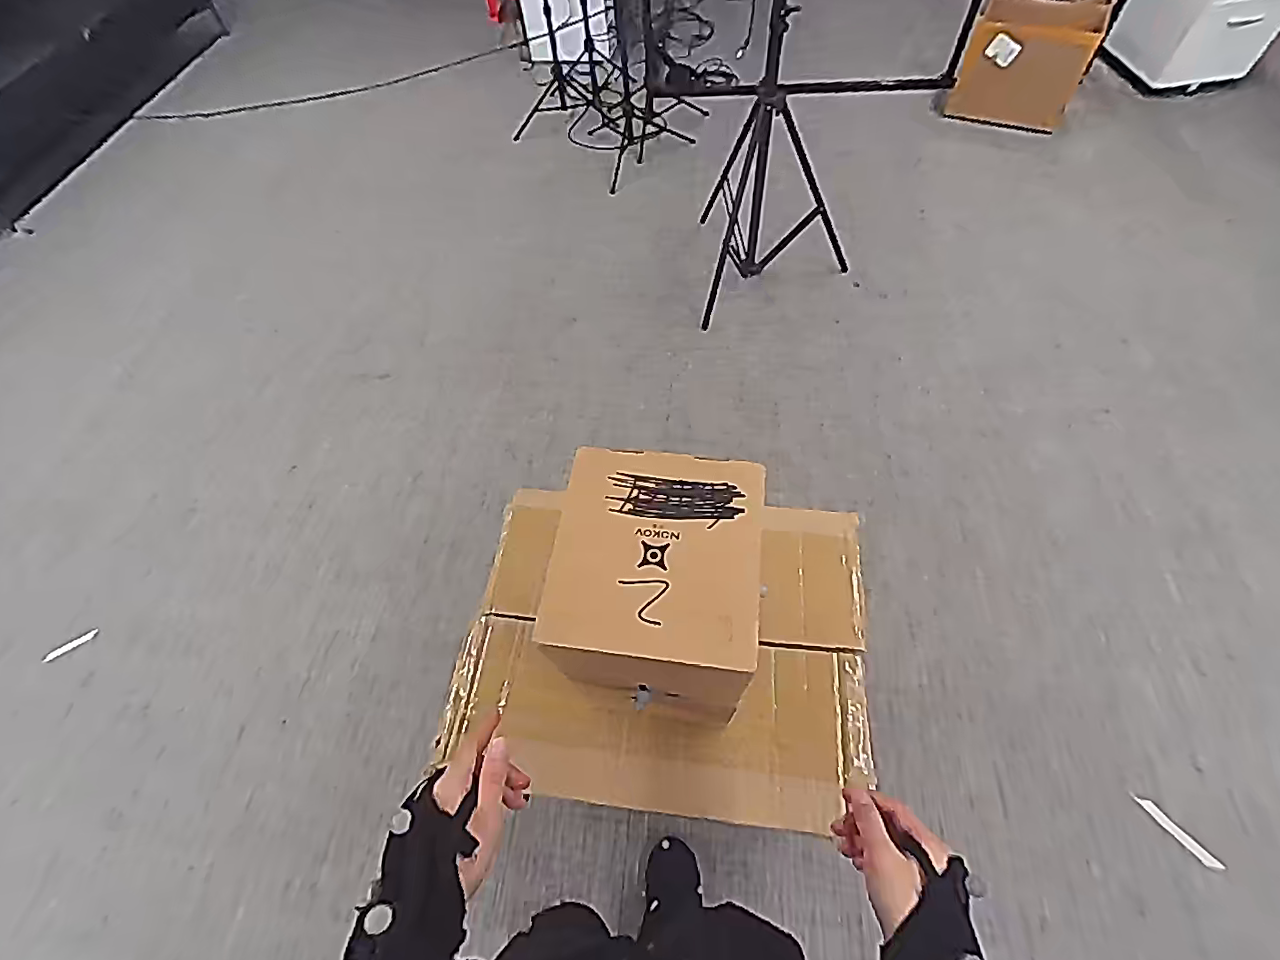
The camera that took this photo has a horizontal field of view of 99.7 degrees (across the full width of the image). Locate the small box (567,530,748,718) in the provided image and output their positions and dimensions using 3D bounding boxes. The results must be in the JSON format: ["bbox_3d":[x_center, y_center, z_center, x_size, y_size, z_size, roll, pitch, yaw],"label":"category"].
[{"bbox_3d":[0.029,0.175,0.639,0.179,0.176,0.168,5,60,8],"label":"small box"}]
